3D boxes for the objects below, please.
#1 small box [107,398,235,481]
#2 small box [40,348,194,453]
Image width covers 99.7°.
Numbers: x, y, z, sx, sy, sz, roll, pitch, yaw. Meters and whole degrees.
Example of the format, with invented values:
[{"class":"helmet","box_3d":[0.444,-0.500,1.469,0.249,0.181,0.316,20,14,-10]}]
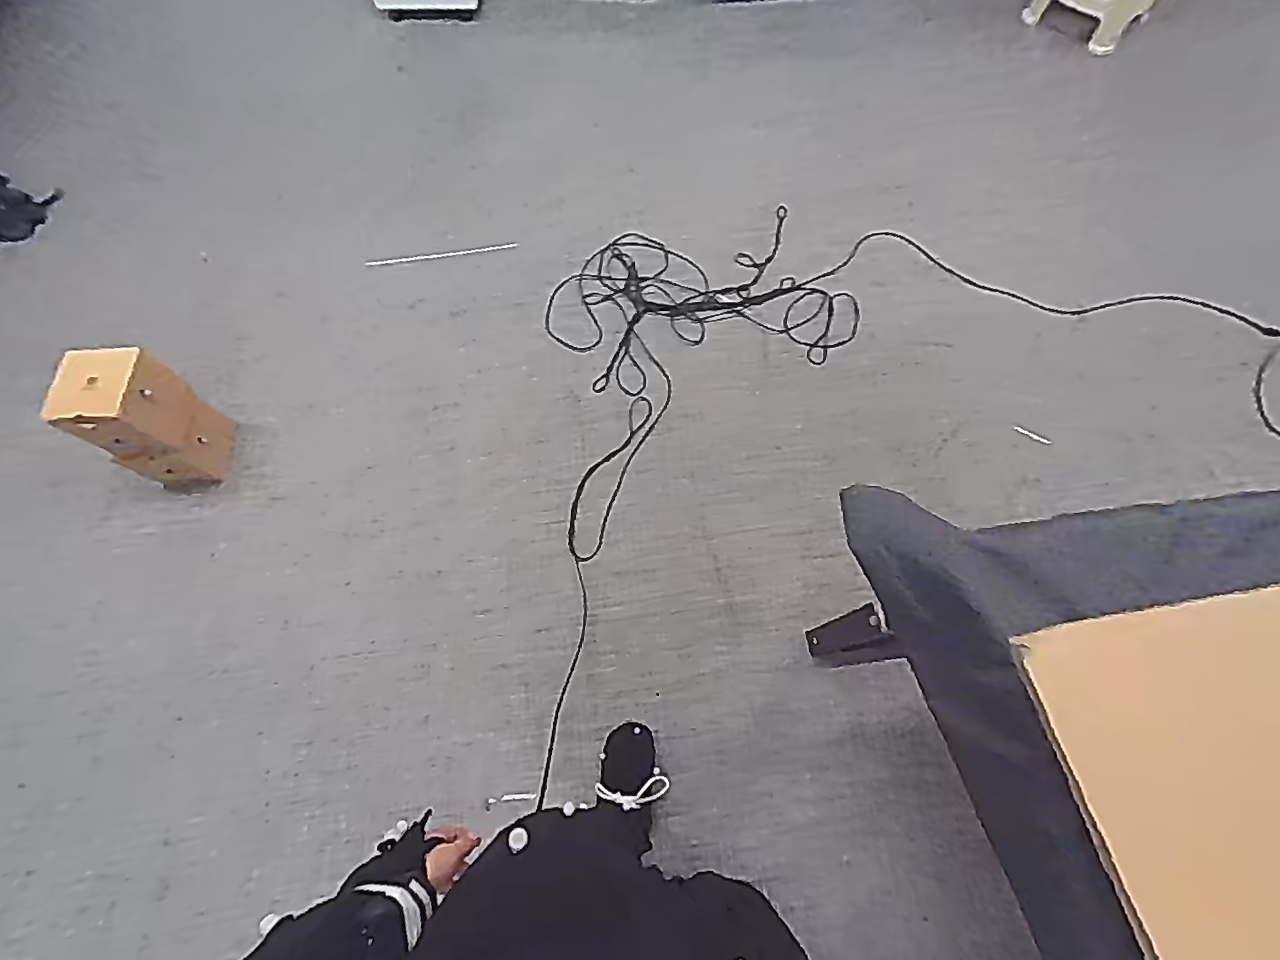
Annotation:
[{"class":"small box","box_3d":[-1.184,-0.103,1.381,0.168,0.176,0.179,-4,69,-1]},{"class":"small box","box_3d":[-1.176,-0.178,1.235,0.168,0.176,0.179,-3,68,-1]}]
